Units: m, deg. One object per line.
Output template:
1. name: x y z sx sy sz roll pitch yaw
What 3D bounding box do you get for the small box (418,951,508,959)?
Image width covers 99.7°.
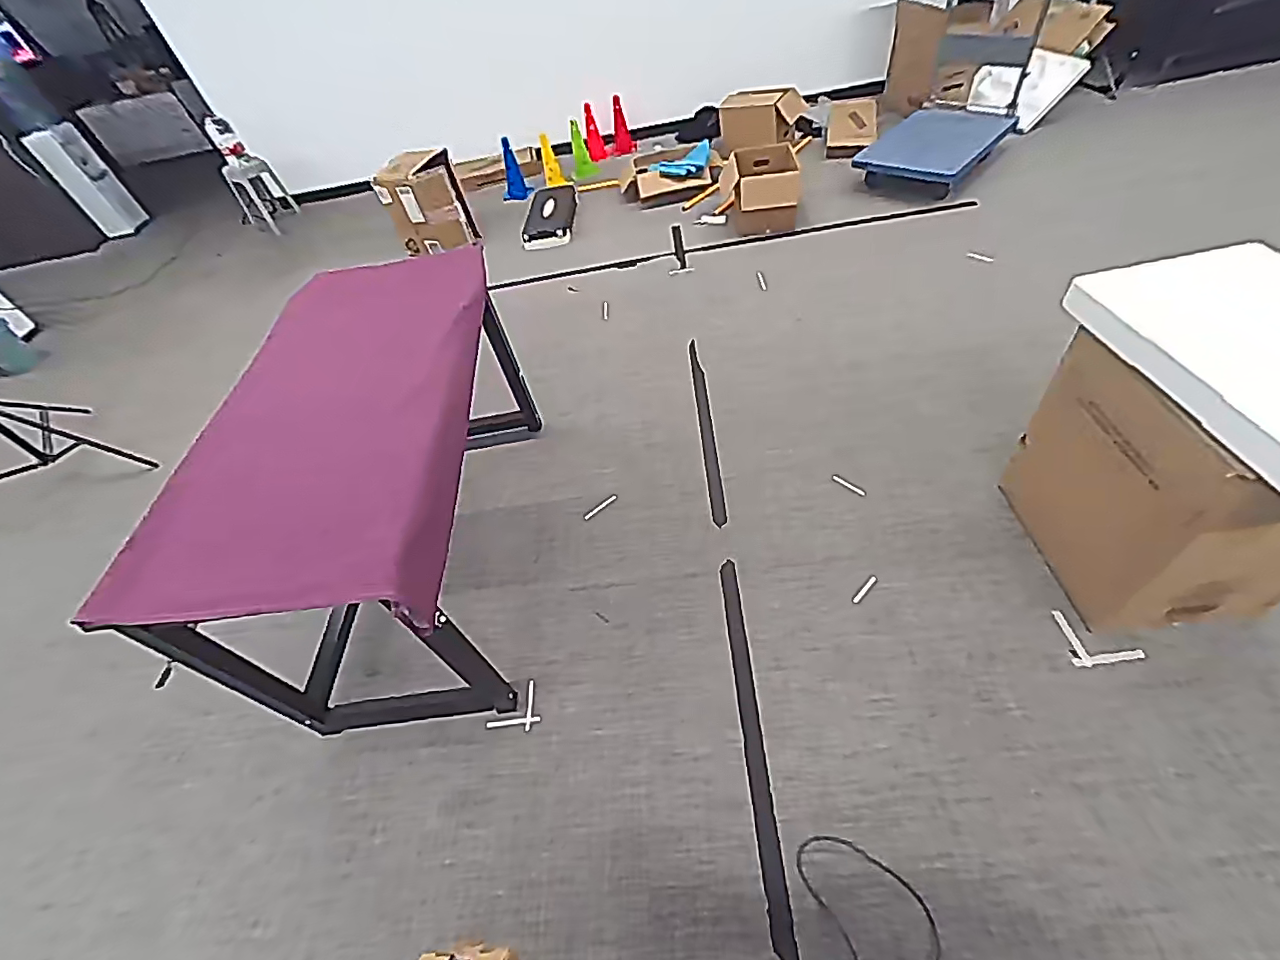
1. small box: -0.210 0.692 0.612 0.168 0.176 0.179 -25 8 23
